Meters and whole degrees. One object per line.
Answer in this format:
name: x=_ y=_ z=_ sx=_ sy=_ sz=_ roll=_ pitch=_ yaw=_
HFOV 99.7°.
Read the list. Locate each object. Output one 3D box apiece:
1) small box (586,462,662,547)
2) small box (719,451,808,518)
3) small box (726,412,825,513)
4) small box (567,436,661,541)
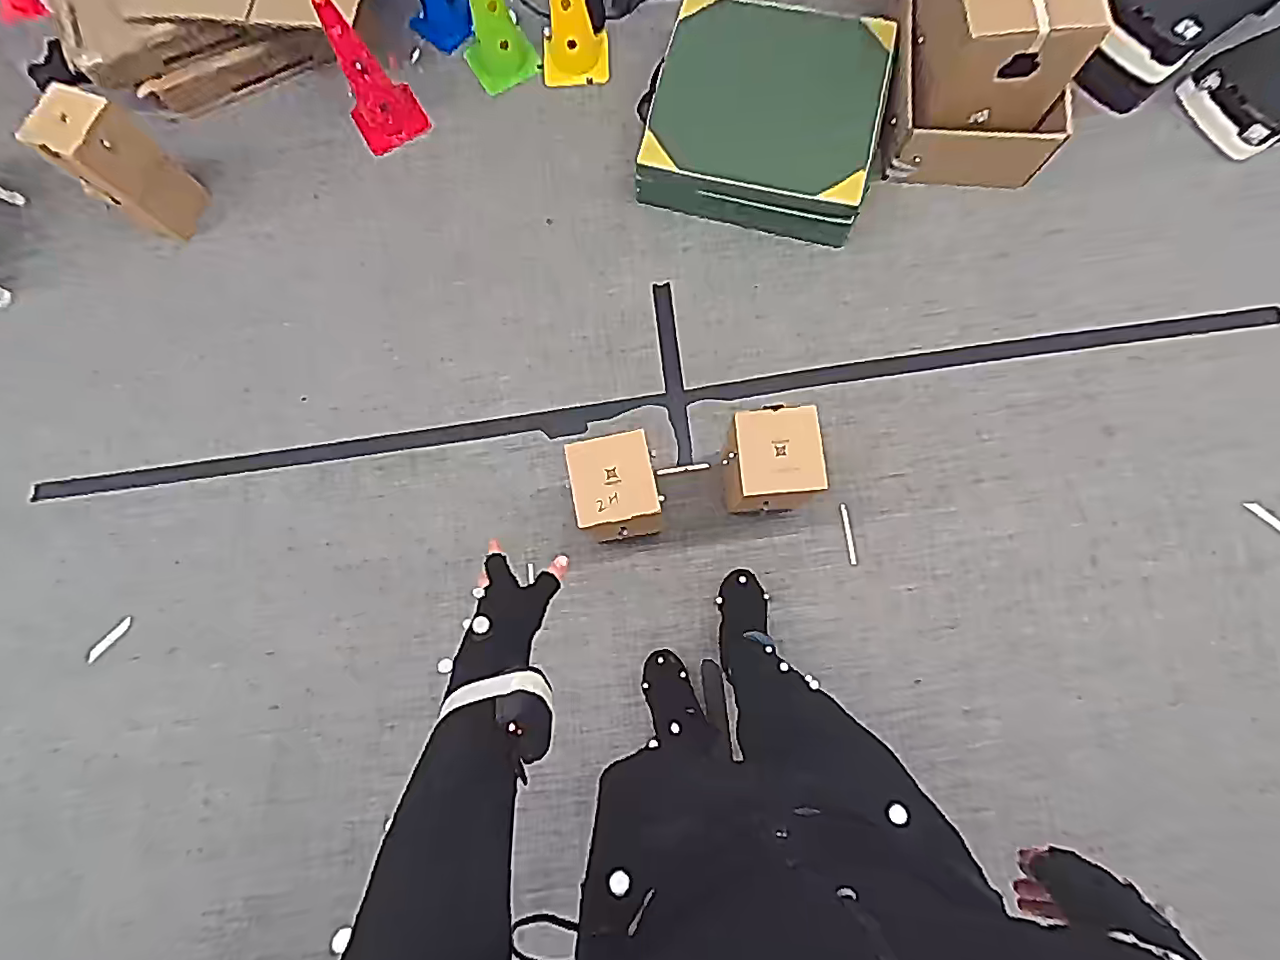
small box: x=-0.043 y=0.063 z=1.311 sx=0.179 sy=0.176 sz=0.168 roll=-10 pitch=78 yaw=0
small box: x=0.295 y=-0.002 z=1.312 sx=0.179 sy=0.176 sz=0.168 roll=-3 pitch=77 yaw=0
small box: x=0.280 y=-0.032 z=1.153 sx=0.168 sy=0.176 sz=0.179 roll=-4 pitch=79 yaw=3
small box: x=-0.051 y=0.024 z=1.151 sx=0.168 sy=0.176 sz=0.179 roll=-11 pitch=78 yaw=1
